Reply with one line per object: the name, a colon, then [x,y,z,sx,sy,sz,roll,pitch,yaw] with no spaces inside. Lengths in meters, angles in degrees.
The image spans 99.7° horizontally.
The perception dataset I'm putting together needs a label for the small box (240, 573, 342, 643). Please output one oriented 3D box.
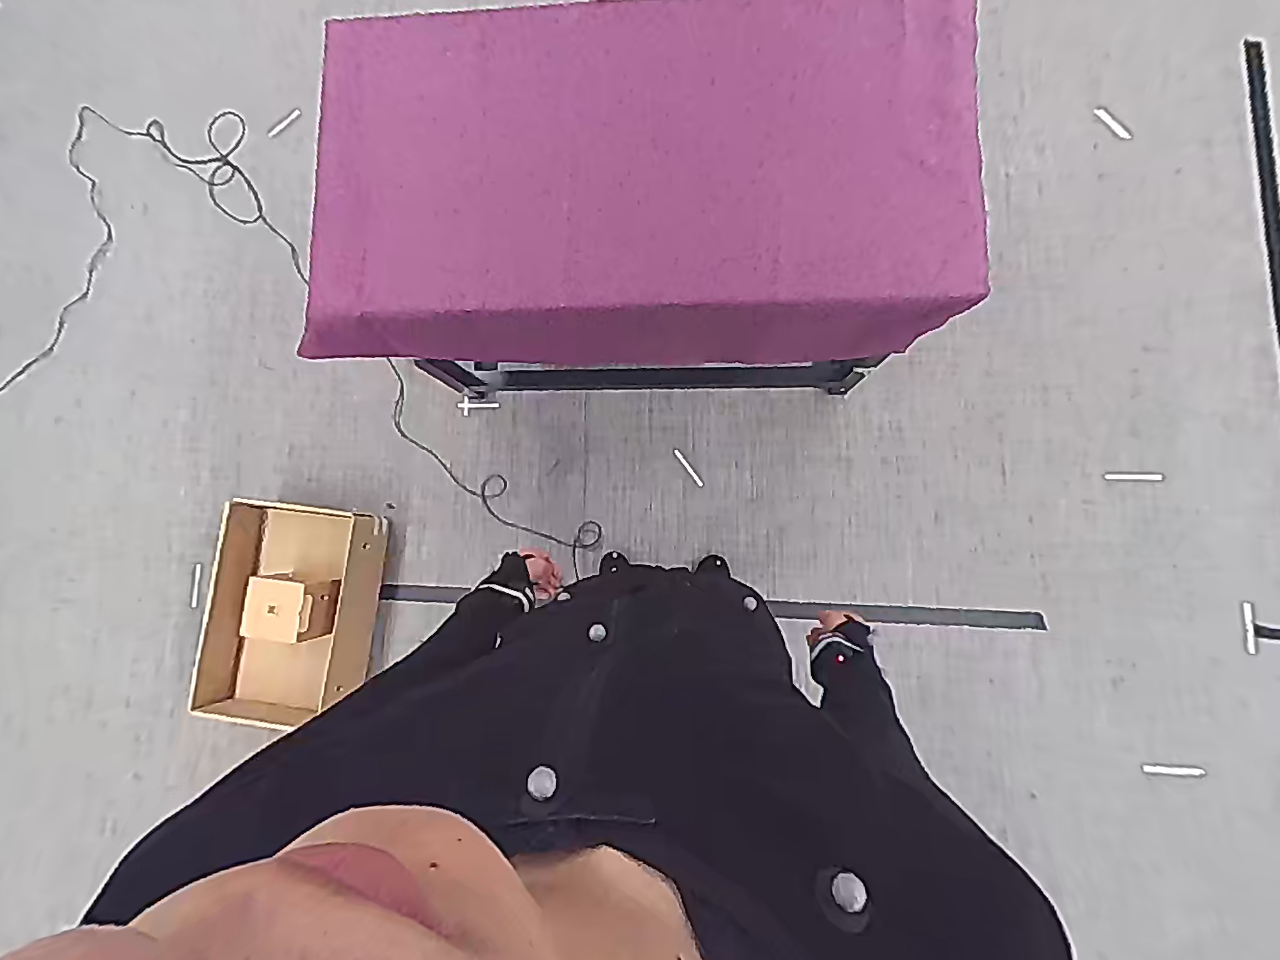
small box: [-1.007,0.366,1.576,0.179,0.176,0.168,6,84,5]
